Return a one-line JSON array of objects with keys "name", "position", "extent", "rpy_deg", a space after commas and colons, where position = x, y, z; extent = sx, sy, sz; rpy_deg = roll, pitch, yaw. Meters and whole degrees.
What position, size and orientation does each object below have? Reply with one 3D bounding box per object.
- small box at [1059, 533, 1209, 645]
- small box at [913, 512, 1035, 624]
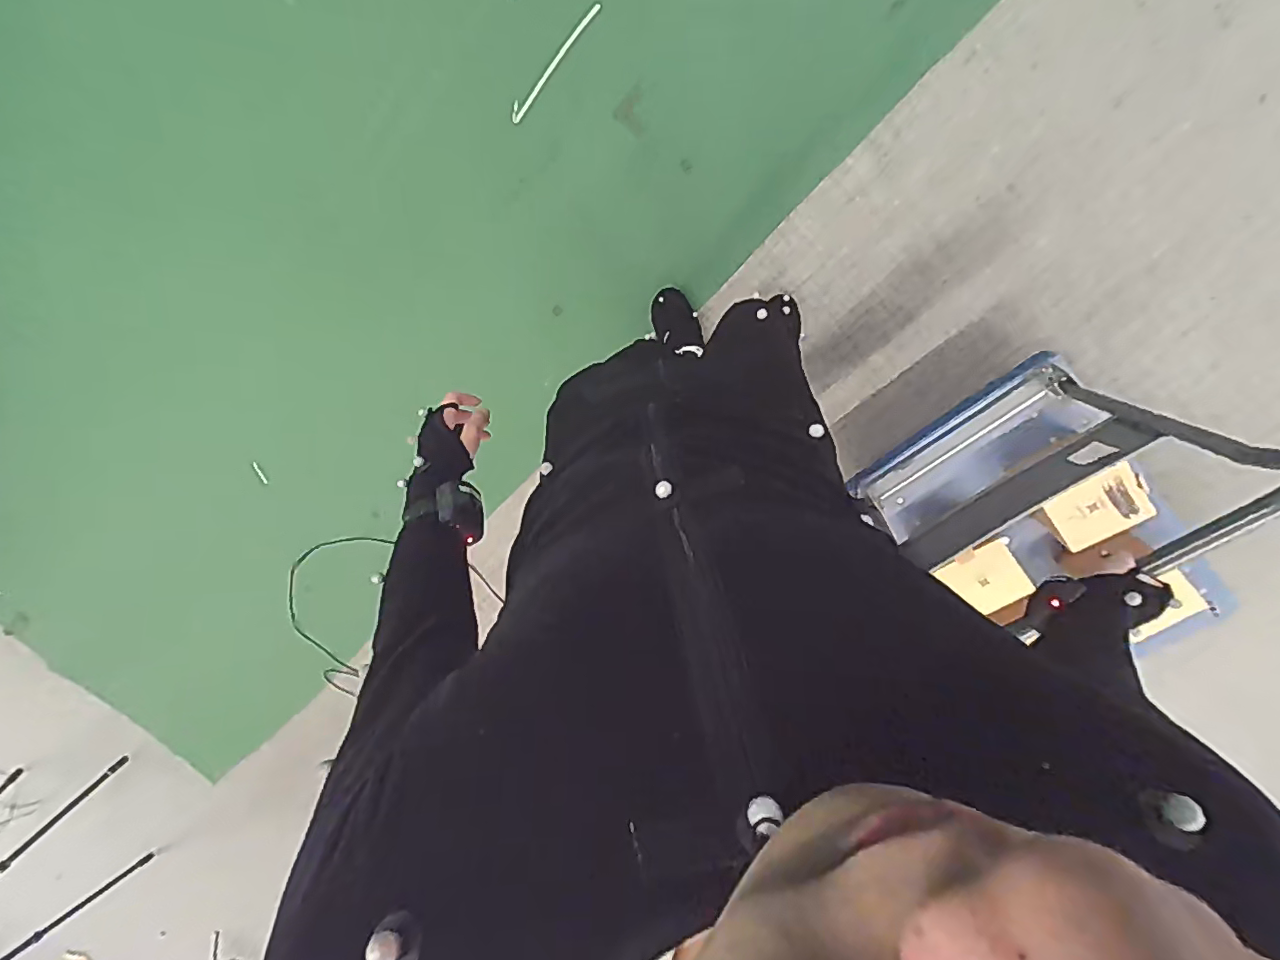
[{"name": "small box", "position": [1.158, 0.247, 1.286], "extent": [0.179, 0.176, 0.168], "rpy_deg": [44, 113, -9]}, {"name": "small box", "position": [0.814, 0.211, 1.333], "extent": [0.168, 0.176, 0.179], "rpy_deg": [-37, 101, 21]}]
